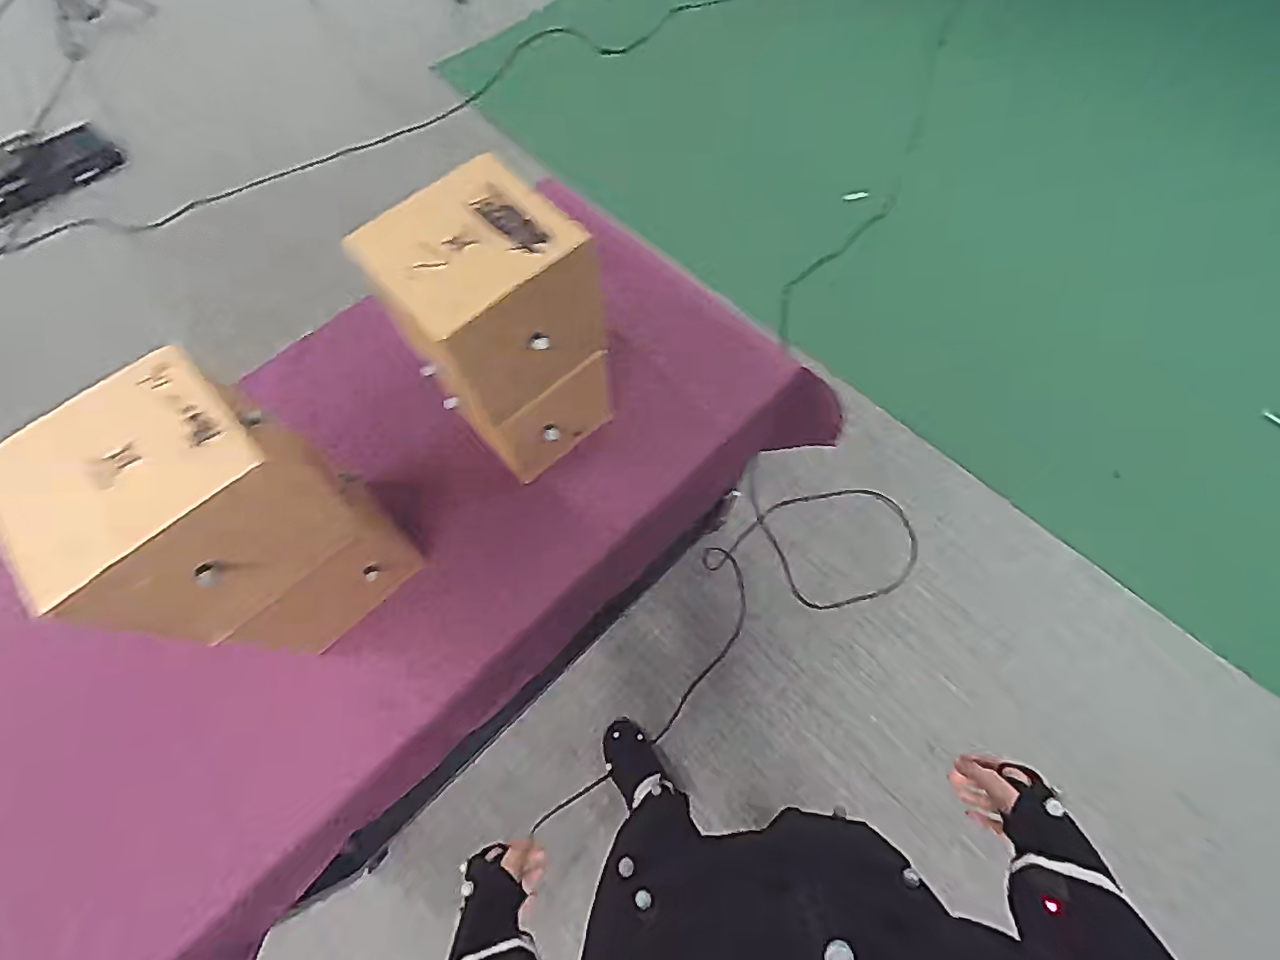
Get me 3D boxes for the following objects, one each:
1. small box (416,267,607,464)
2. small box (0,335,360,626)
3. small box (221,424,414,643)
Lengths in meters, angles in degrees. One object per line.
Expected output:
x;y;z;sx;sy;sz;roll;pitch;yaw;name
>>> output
-0.160;-0.143;0.740;0.168;0.176;0.179;-41;72;-14;small box
-0.408;0.012;0.500;0.179;0.176;0.168;-42;72;-15;small box
-0.403;0.072;0.653;0.179;0.176;0.168;-42;72;-15;small box
